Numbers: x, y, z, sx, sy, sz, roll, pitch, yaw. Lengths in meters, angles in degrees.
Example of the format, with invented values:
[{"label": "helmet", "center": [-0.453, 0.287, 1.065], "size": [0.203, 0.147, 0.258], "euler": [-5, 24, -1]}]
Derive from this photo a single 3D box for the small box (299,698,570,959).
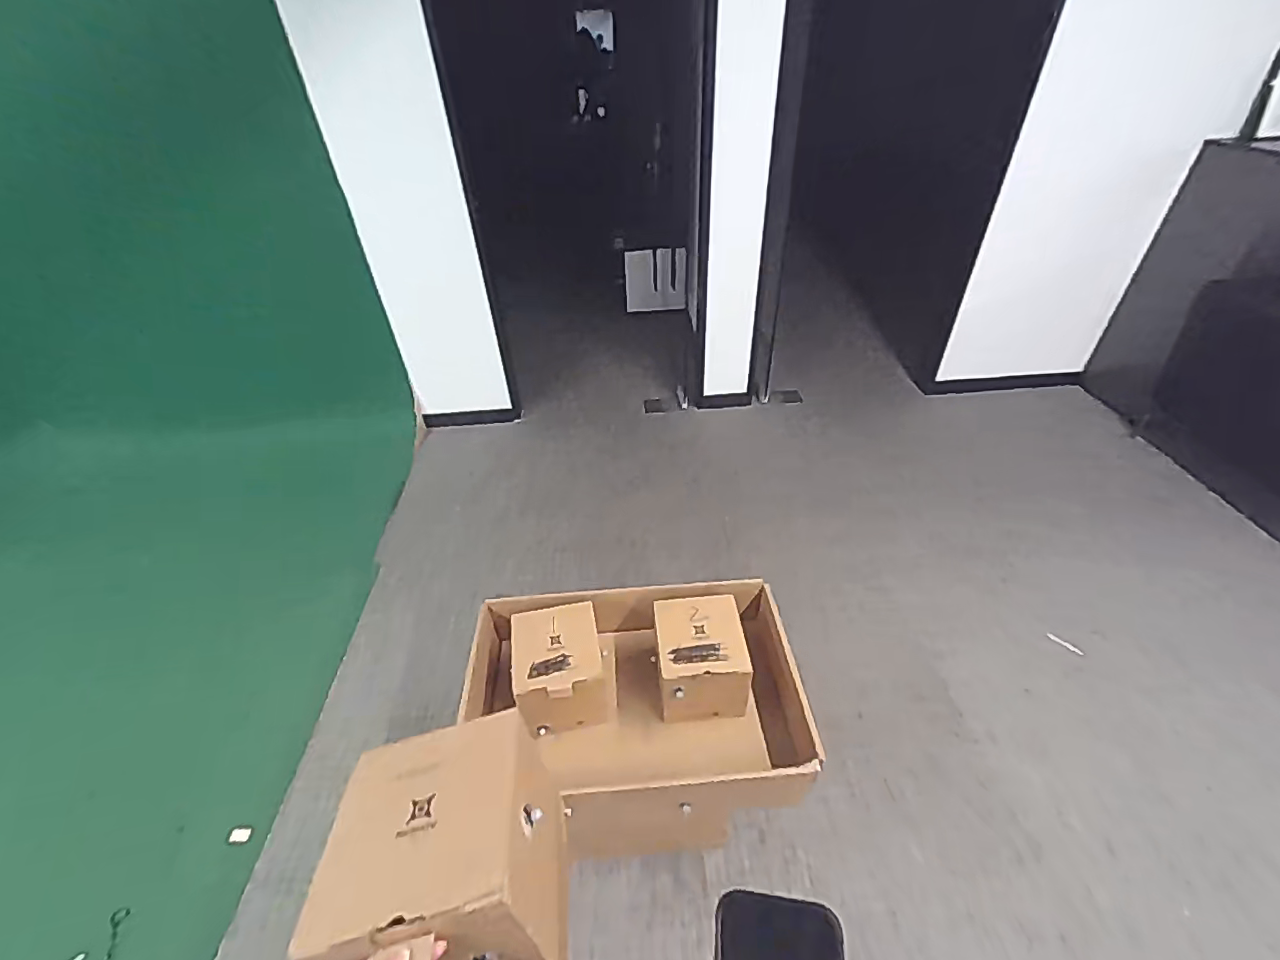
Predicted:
[{"label": "small box", "center": [-0.167, 0.349, 0.510], "size": [0.168, 0.176, 0.179], "euler": [-15, 27, -1]}]
